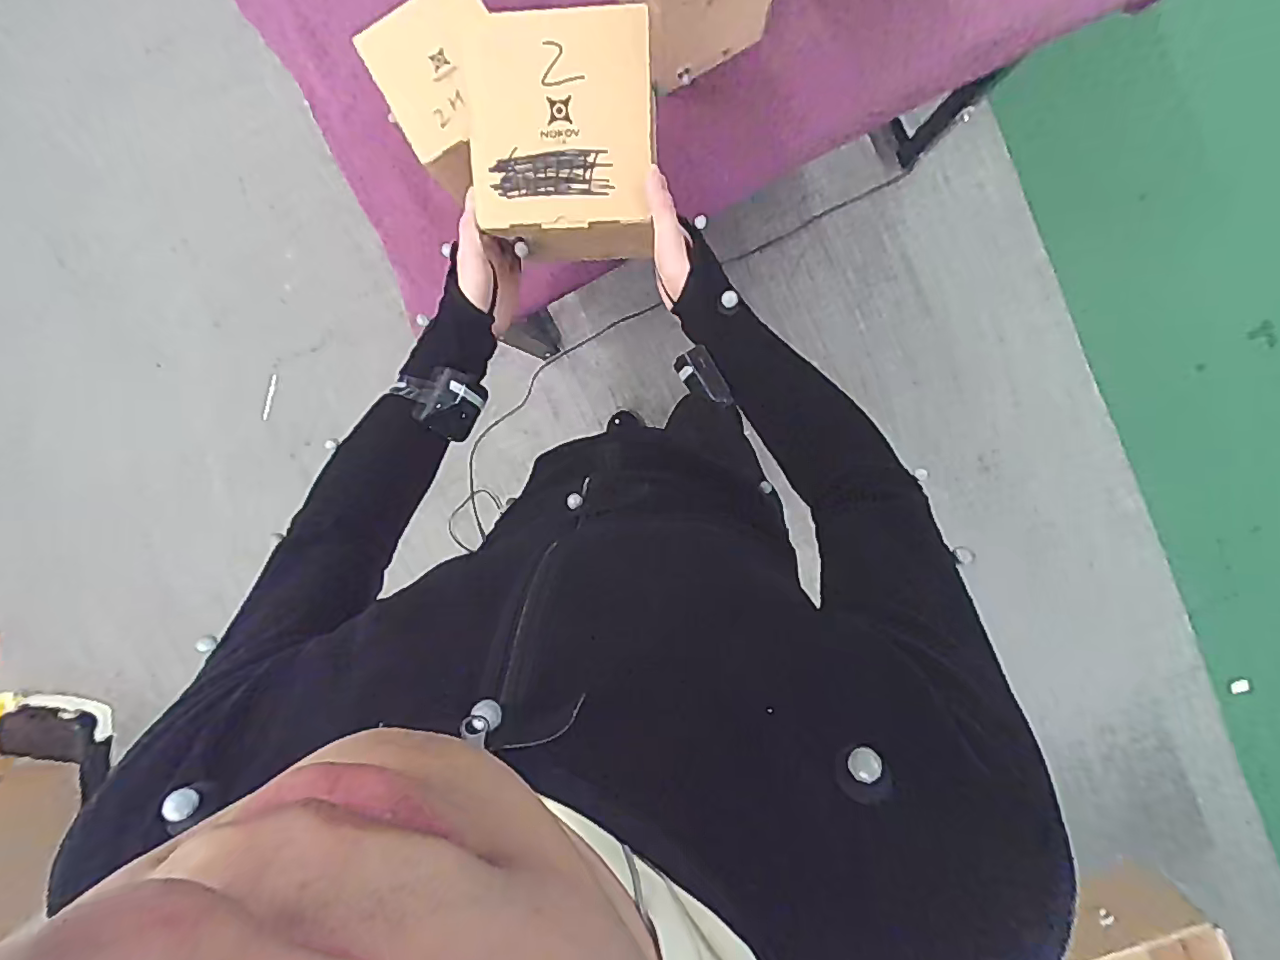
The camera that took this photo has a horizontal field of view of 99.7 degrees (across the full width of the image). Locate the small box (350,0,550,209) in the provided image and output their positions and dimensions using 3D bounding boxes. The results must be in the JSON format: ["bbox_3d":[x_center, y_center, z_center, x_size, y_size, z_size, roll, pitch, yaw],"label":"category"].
[{"bbox_3d":[-0.246,-0.517,0.746,0.168,0.176,0.179,-29,95,5],"label":"small box"}]

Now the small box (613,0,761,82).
[{"bbox_3d":[0.058,-0.680,0.718,0.168,0.176,0.179,-28,95,5],"label":"small box"}]
